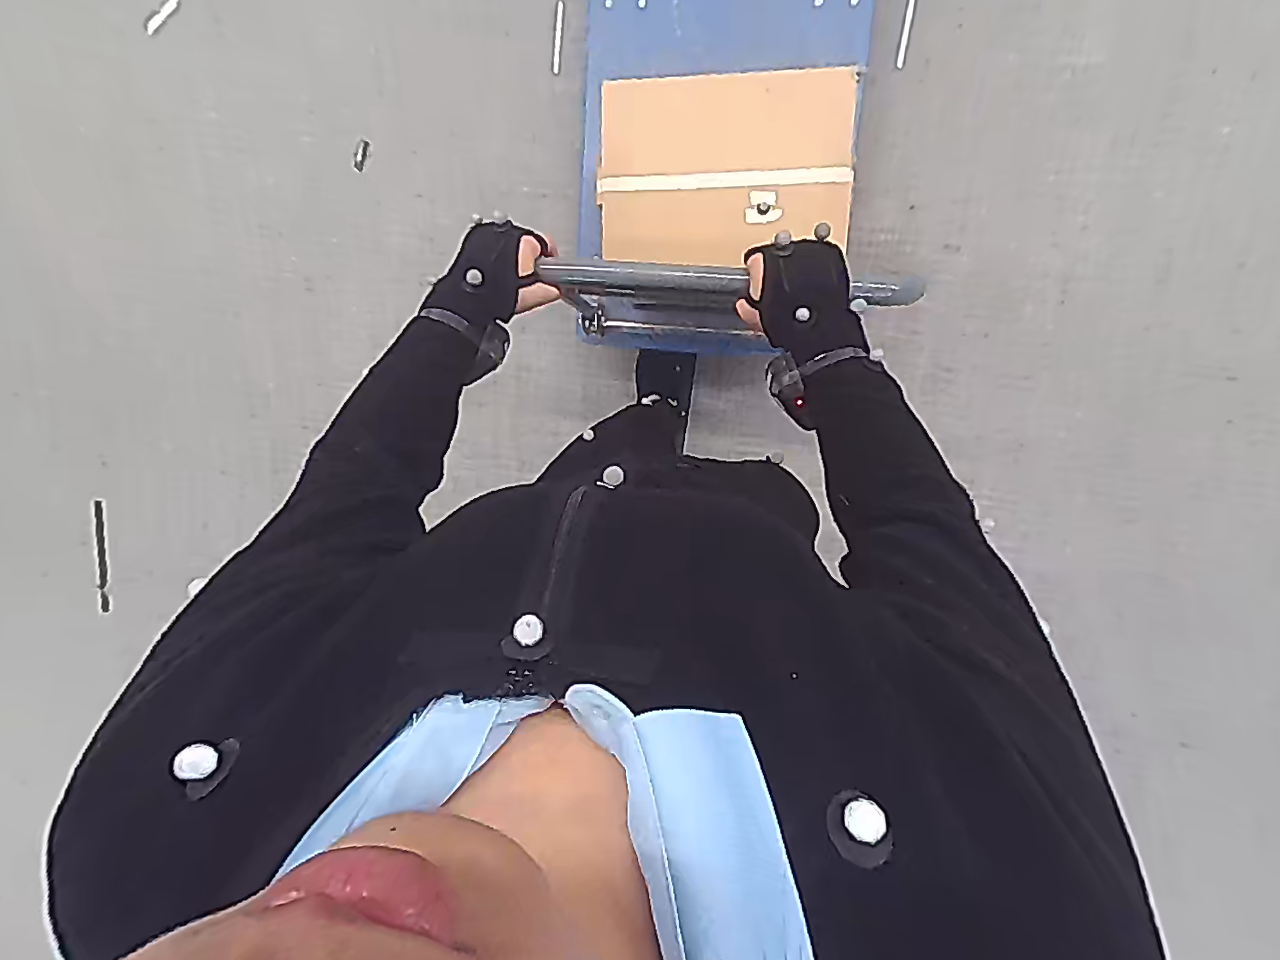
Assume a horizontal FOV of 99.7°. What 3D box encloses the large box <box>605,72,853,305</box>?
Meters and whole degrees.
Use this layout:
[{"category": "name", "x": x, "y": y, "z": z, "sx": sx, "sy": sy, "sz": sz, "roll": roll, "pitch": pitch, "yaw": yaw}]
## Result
[{"category": "large box", "x": 0.154, "y": -0.521, "z": 1.043, "sx": 0.408, "sy": 0.320, "sz": 0.320, "roll": 2, "pitch": 102, "yaw": 6}]
